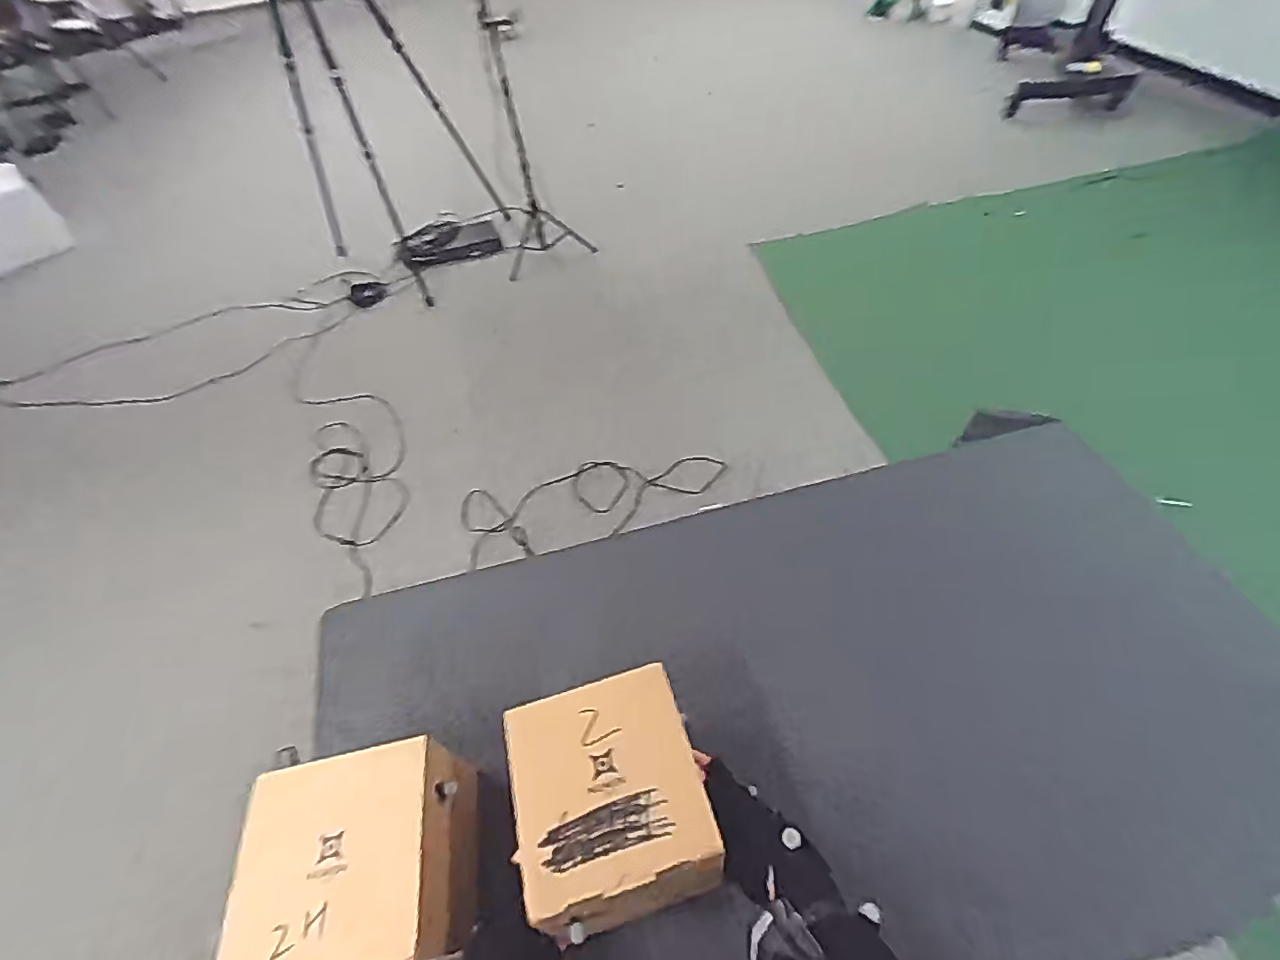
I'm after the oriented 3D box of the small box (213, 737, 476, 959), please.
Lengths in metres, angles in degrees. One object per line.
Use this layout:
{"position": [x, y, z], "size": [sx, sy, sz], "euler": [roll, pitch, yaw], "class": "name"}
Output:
{"position": [-0.270, 0.385, 0.539], "size": [0.168, 0.176, 0.179], "euler": [-11, 51, -4], "class": "small box"}
